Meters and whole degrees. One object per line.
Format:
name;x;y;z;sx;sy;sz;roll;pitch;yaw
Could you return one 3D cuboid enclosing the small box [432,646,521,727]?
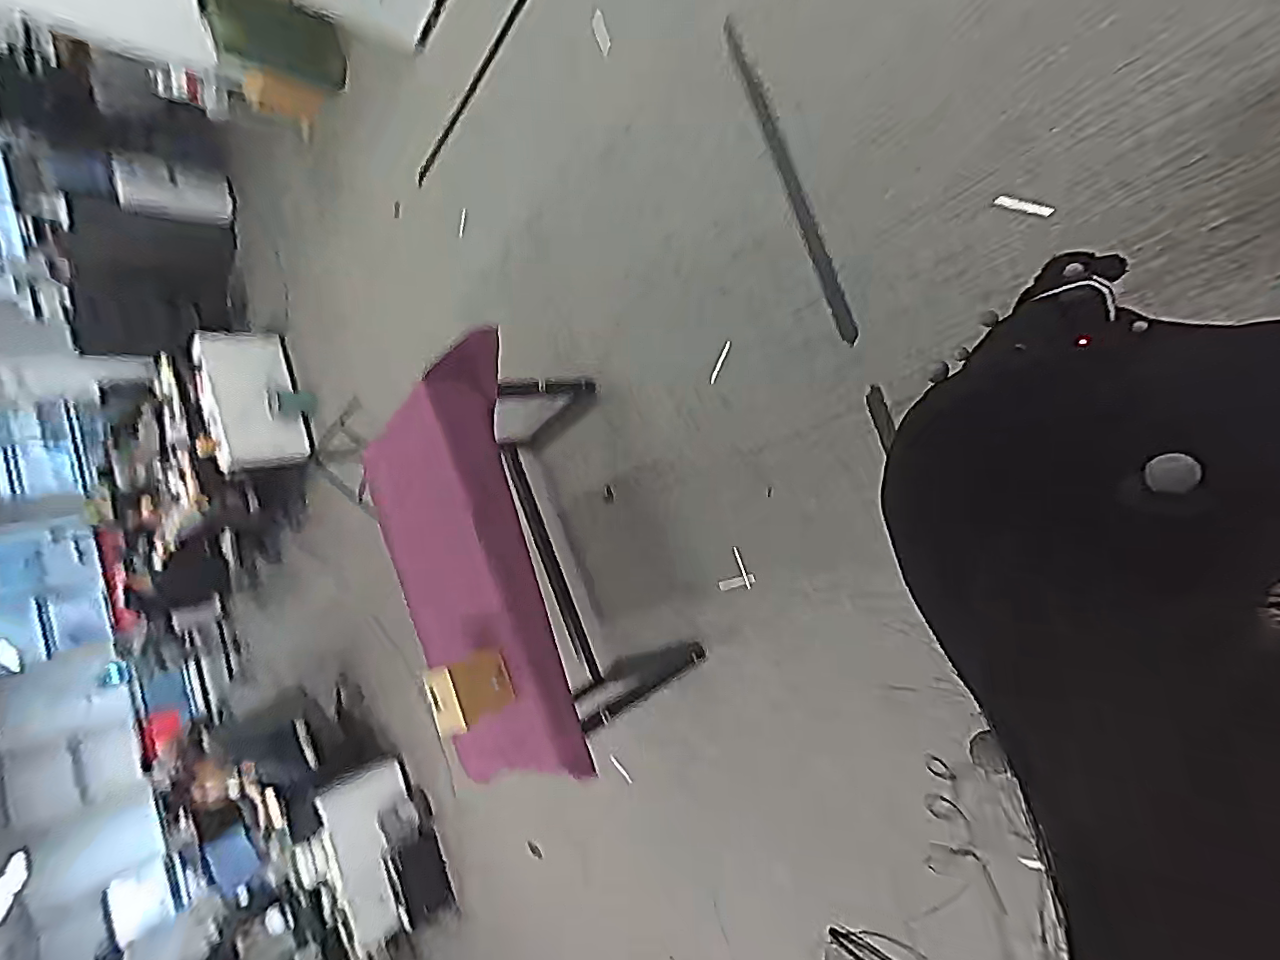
small box;-0.474;0.600;1.575;0.179;0.176;0.168;-30;78;42
